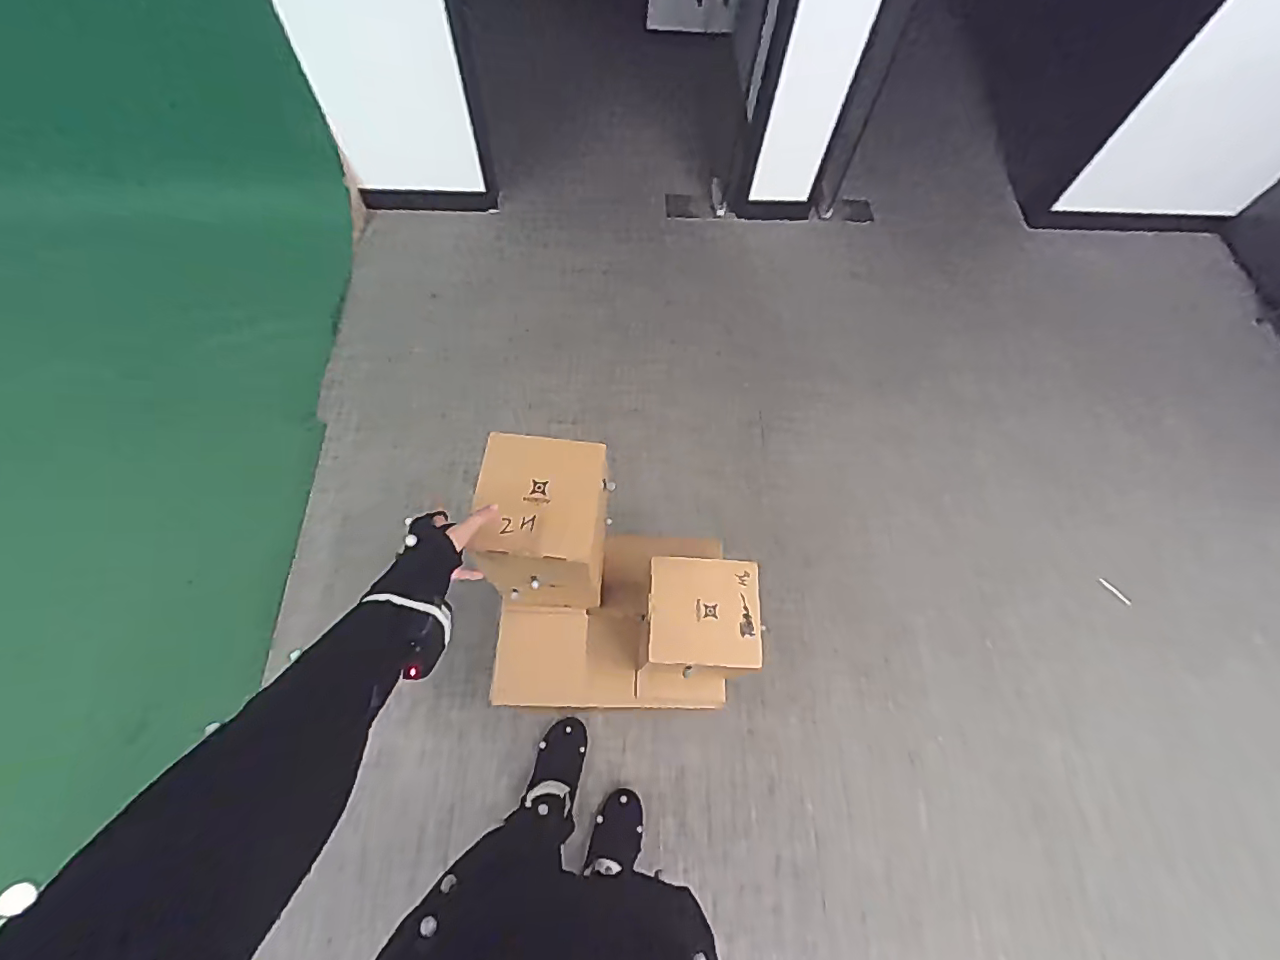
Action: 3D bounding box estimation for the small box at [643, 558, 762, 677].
[{"bbox_3d":[0.097,0.235,0.905,0.179,0.176,0.168,4,67,-1],"label":"small box"}]

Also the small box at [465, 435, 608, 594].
[{"bbox_3d":[-0.139,0.056,0.798,0.168,0.176,0.179,6,65,1],"label":"small box"}]
